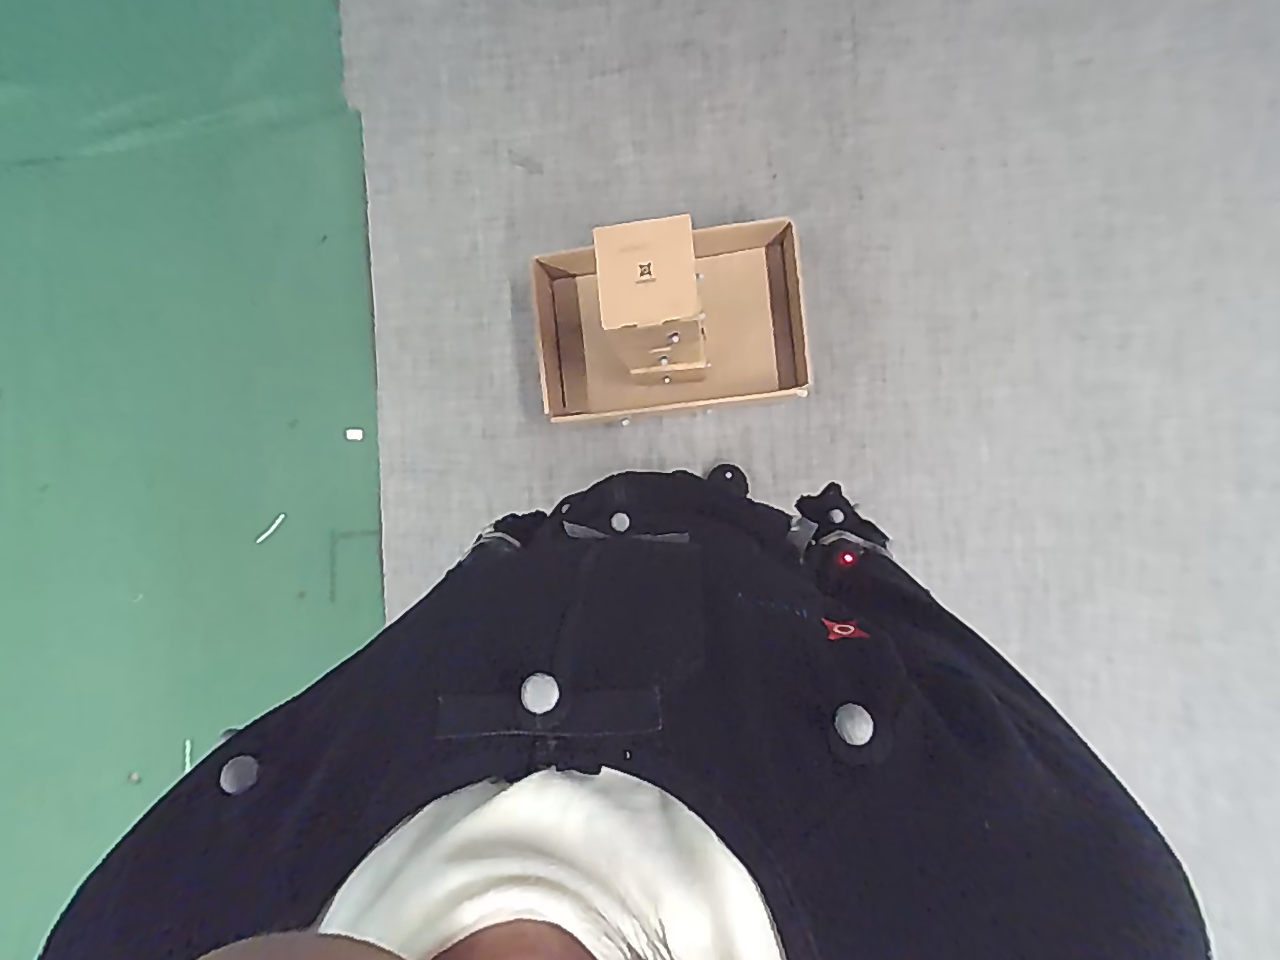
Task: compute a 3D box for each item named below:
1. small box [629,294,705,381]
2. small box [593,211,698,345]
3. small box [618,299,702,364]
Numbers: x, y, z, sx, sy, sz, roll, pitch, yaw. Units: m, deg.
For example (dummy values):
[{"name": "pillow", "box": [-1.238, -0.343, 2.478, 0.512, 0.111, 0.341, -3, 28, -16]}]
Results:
[{"name": "small box", "box": [0.069, -0.340, 1.318, 0.179, 0.176, 0.168, -2, 89, 8]}, {"name": "small box", "box": [0.017, -0.352, 0.980, 0.168, 0.176, 0.179, -5, 89, 6]}, {"name": "small box", "box": [0.040, -0.355, 1.161, 0.168, 0.176, 0.179, -8, 89, 8]}]
